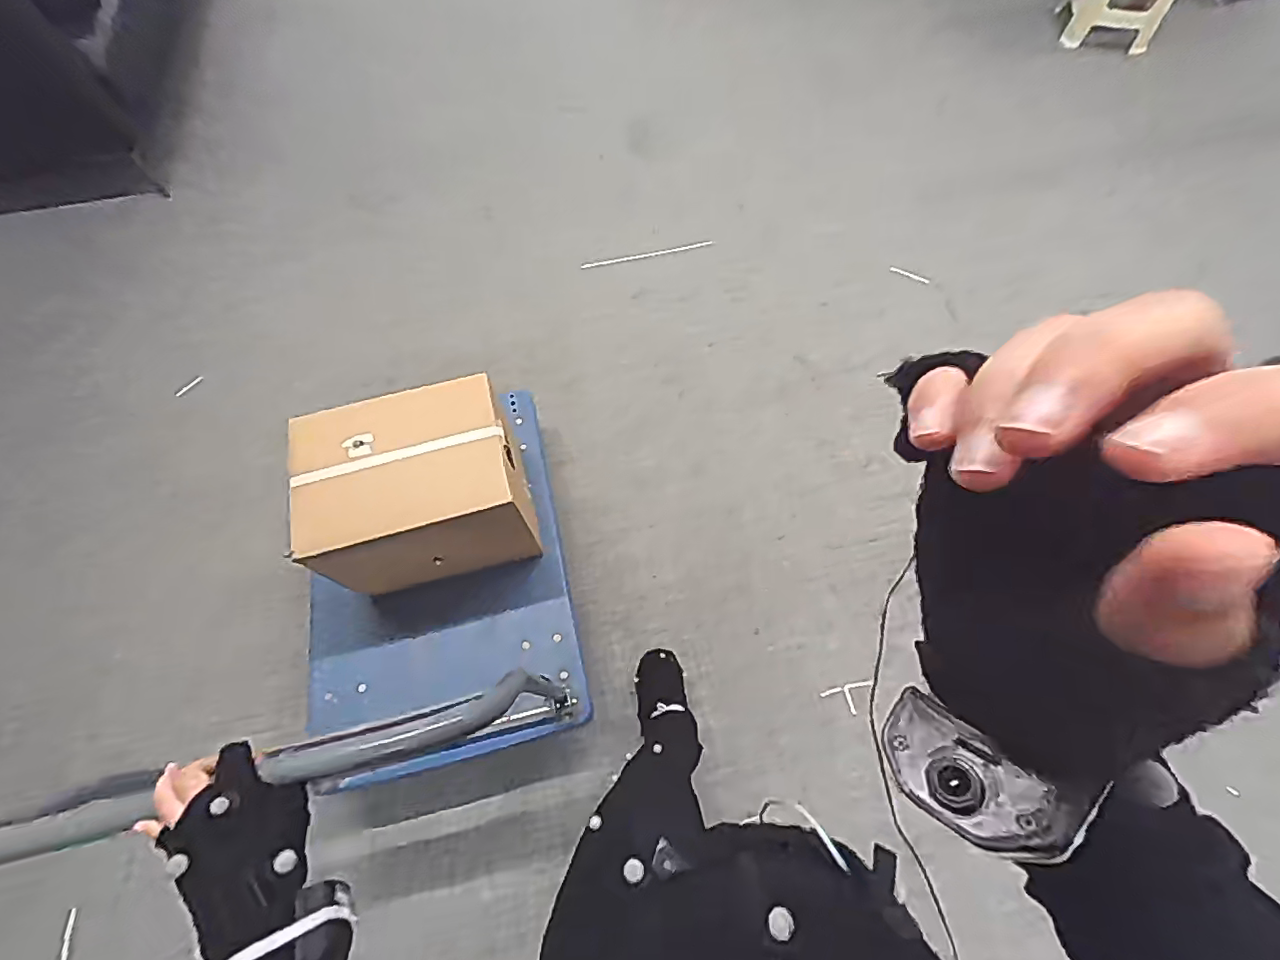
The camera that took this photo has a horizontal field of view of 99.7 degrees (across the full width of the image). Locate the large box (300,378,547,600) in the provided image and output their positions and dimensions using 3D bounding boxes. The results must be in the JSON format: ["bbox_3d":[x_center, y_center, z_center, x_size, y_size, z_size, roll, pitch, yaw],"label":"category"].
[{"bbox_3d":[-0.458,0.033,1.195,0.408,0.320,0.320,-16,64,-5],"label":"large box"}]
